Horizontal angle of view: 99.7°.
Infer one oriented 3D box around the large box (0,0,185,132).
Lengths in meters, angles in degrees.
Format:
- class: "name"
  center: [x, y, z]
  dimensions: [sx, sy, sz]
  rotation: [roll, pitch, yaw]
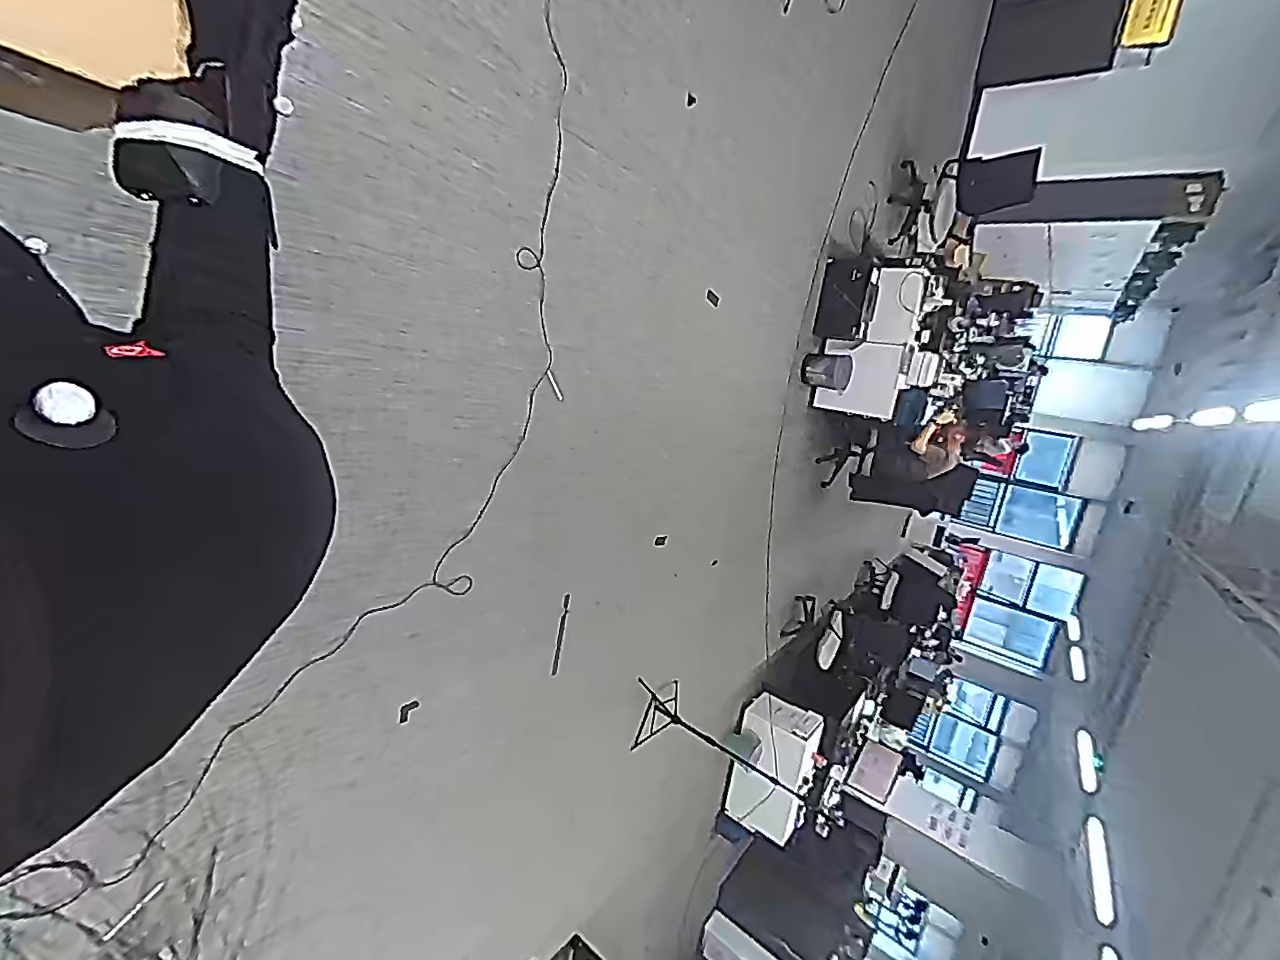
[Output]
- class: "large box"
  center: [-0.531, -0.429, 0.268]
  dimensions: [0.408, 0.320, 0.320]
  rotation: [-7, 115, -56]
